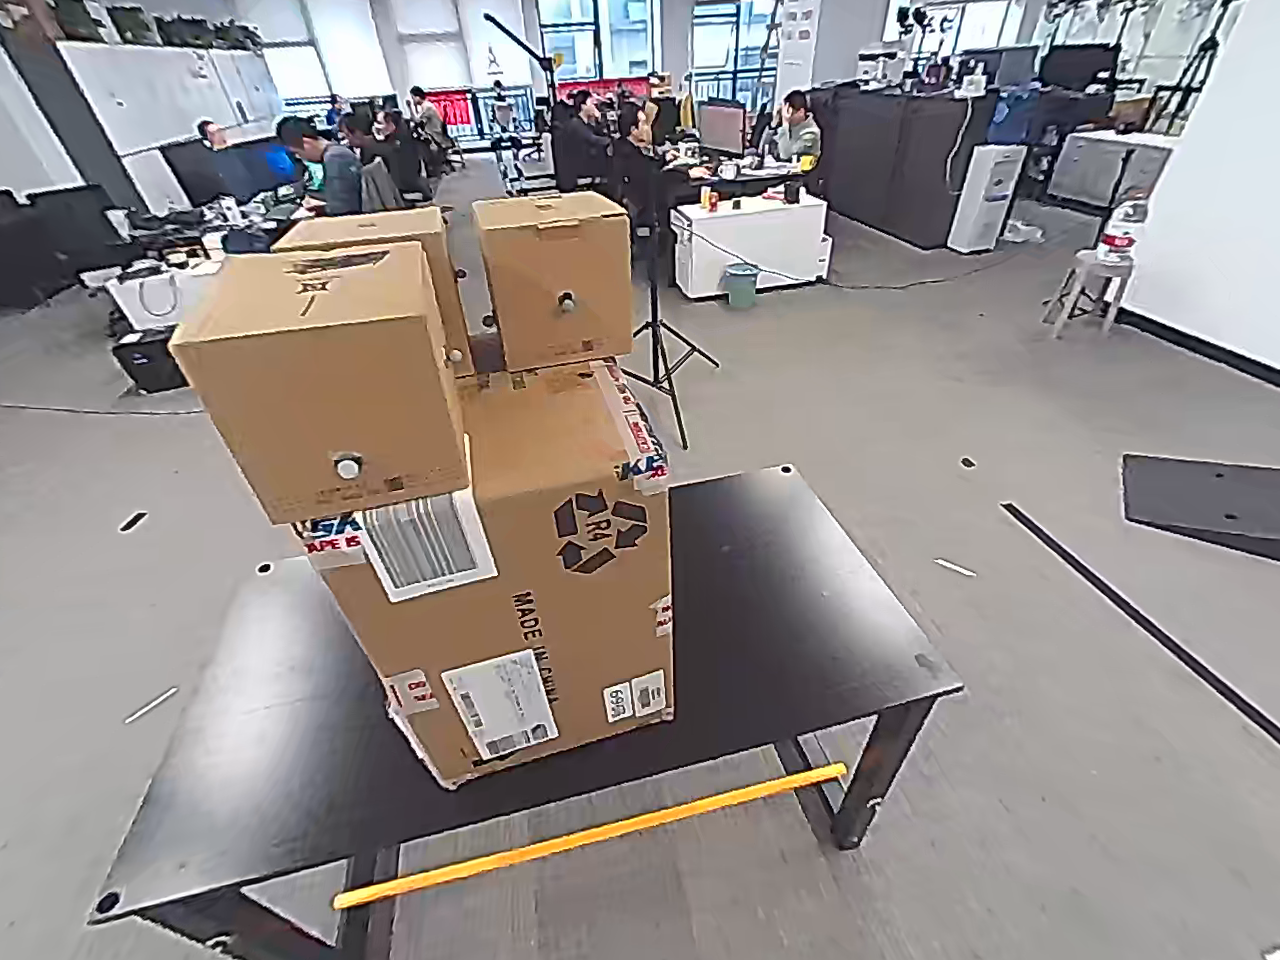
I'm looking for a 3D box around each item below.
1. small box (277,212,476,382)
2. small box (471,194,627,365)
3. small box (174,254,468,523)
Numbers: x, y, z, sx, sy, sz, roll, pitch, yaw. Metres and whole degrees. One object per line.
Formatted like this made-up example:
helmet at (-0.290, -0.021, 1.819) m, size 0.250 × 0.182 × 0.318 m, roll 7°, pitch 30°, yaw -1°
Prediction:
small box at (-0.309, -0.221, 0.670) m, size 0.168 × 0.176 × 0.179 m, roll -14°, pitch 38°, yaw -13°
small box at (-0.116, -0.259, 0.705) m, size 0.168 × 0.176 × 0.179 m, roll -11°, pitch 38°, yaw -14°
small box at (-0.259, -0.089, 0.490) m, size 0.168 × 0.176 × 0.179 m, roll -12°, pitch 41°, yaw -14°
